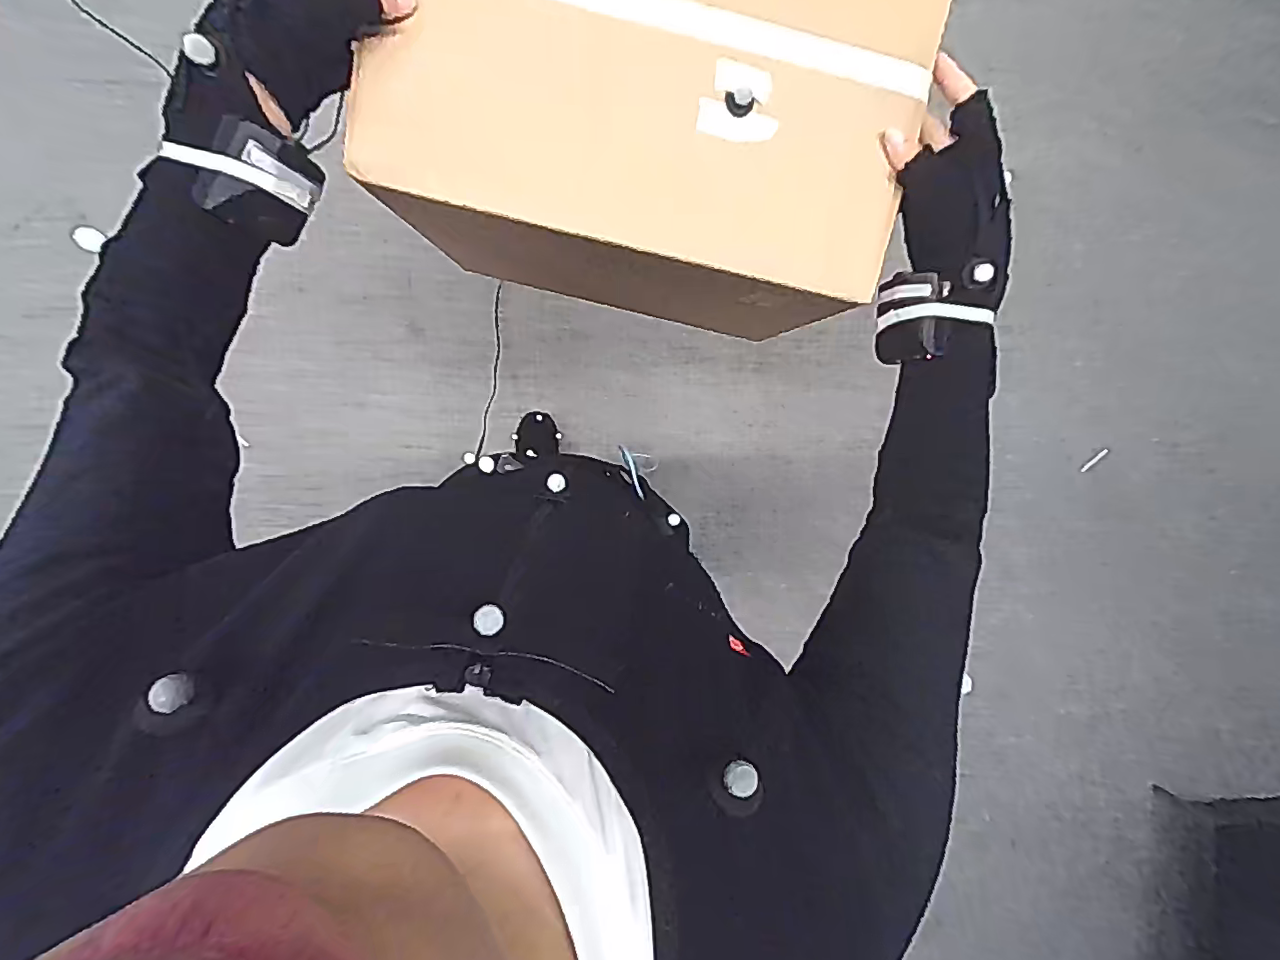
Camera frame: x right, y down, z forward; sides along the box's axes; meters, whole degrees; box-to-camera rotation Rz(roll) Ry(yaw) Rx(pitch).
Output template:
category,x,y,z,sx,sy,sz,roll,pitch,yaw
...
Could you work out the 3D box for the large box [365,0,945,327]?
category,x,y,z,sx,sy,sz,roll,pitch,yaw
large box,0.009,-0.362,0.536,0.408,0.320,0.320,11,99,-6
